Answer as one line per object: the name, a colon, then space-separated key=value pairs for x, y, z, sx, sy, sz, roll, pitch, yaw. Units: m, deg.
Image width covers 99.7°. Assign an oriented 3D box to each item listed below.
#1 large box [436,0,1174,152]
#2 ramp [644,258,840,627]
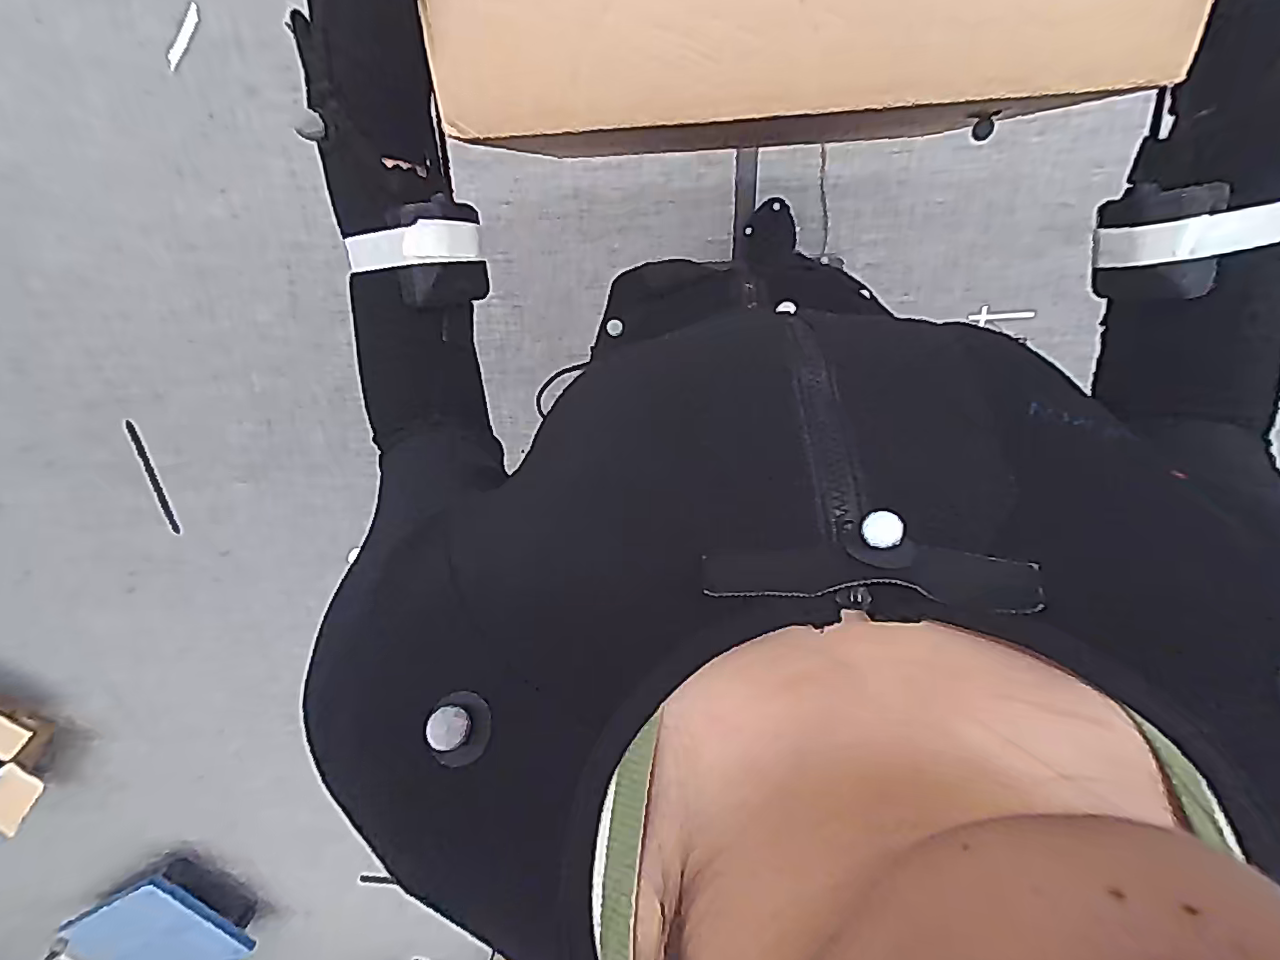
large box: x=0.088 y=-0.424 z=0.373 sx=0.408 sy=0.320 sz=0.320 roll=-1 pitch=118 yaw=6
ramp: x=0.260 y=-0.063 z=1.468 sx=0.509 sy=0.206 sz=0.991 roll=-1 pitch=113 yaw=7
